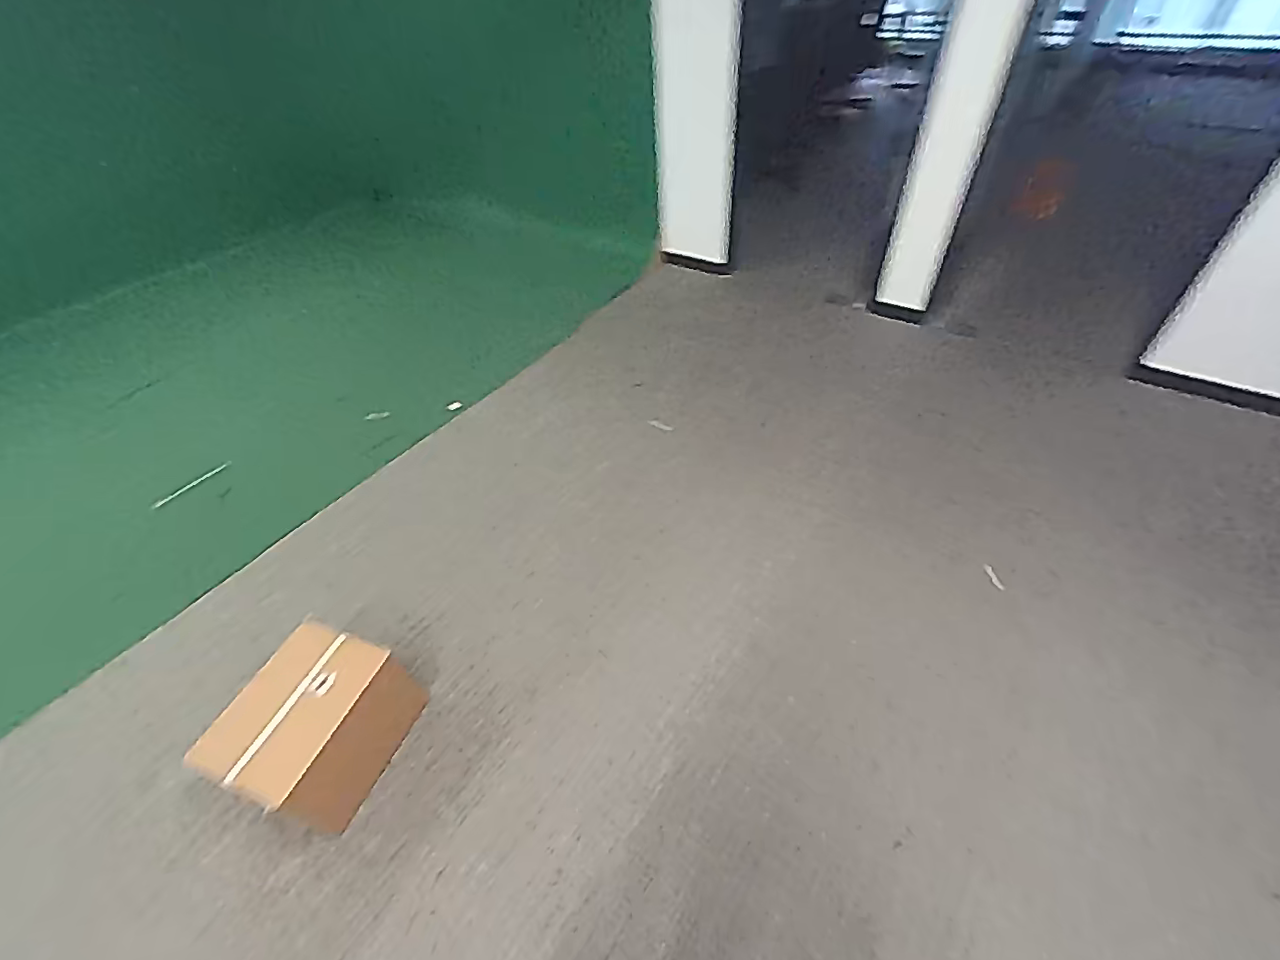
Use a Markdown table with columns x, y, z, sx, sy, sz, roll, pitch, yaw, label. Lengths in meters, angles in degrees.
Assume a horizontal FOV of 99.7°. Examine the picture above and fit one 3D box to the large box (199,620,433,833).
| x | y | z | sx | sy | sz | roll | pitch | yaw | label |
| --- | --- | --- | --- | --- | --- | --- | --- | --- | --- |
| -0.861 | 0.677 | 1.502 | 0.320 | 0.320 | 0.408 | 13 | 47 | 17 | large box |
